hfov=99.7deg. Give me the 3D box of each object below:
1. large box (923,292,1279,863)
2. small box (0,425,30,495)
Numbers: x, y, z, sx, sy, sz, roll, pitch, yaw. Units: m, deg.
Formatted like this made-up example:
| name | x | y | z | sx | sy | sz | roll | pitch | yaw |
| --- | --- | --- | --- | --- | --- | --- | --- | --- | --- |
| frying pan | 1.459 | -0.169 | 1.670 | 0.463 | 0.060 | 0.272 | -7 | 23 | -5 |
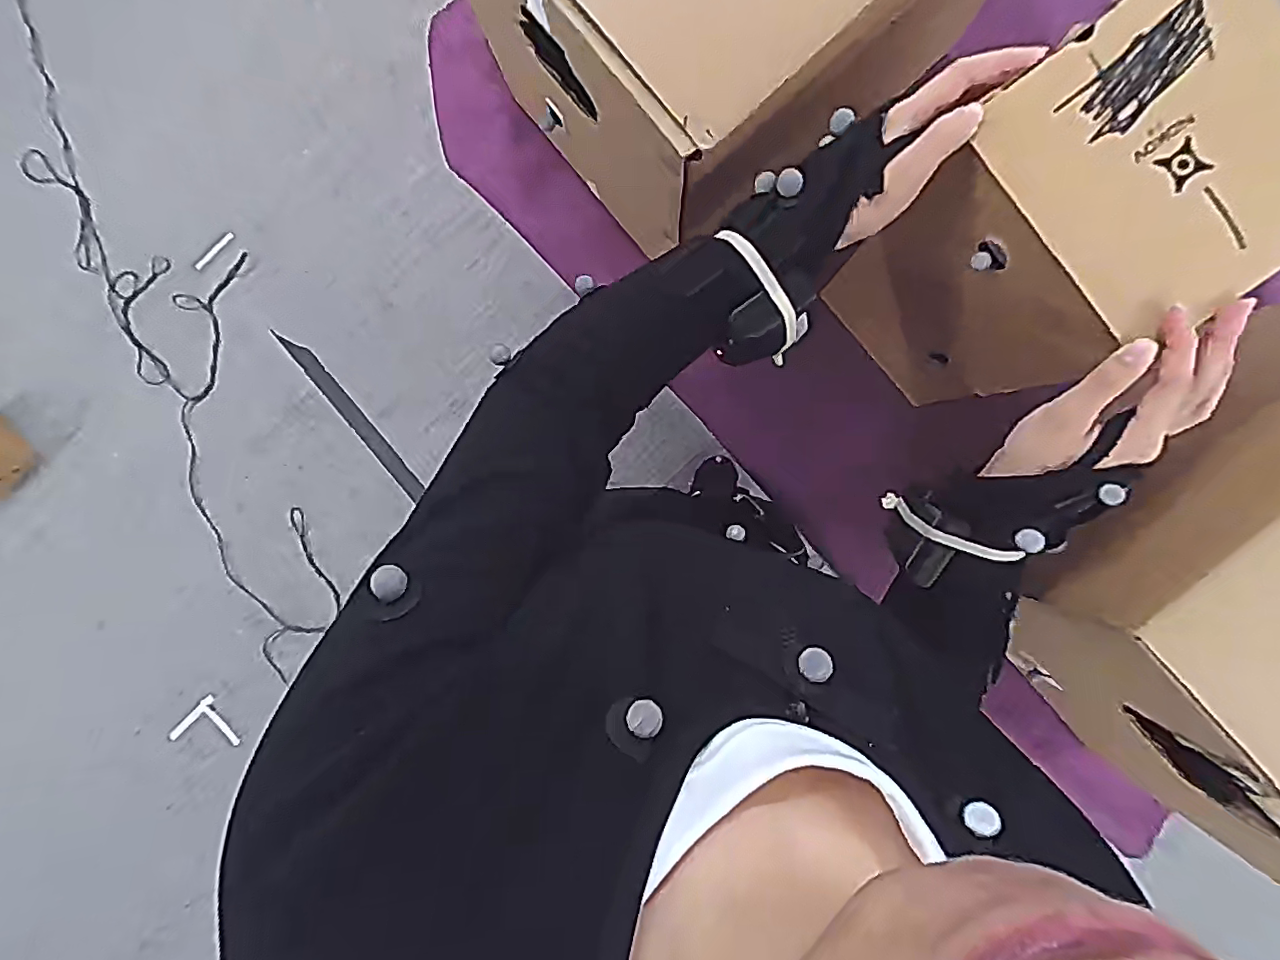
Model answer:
| name | x | y | z | sx | sy | sz | roll | pitch | yaw |
| --- | --- | --- | --- | --- | --- | --- | --- | --- | --- |
| large box | 0.556 | 0.065 | 0.462 | 0.408 | 0.320 | 0.320 | -42 | 90 | 3 |
| small box | -1.803 | -0.064 | 1.423 | 0.179 | 0.176 | 0.168 | 42 | 95 | 1 |
